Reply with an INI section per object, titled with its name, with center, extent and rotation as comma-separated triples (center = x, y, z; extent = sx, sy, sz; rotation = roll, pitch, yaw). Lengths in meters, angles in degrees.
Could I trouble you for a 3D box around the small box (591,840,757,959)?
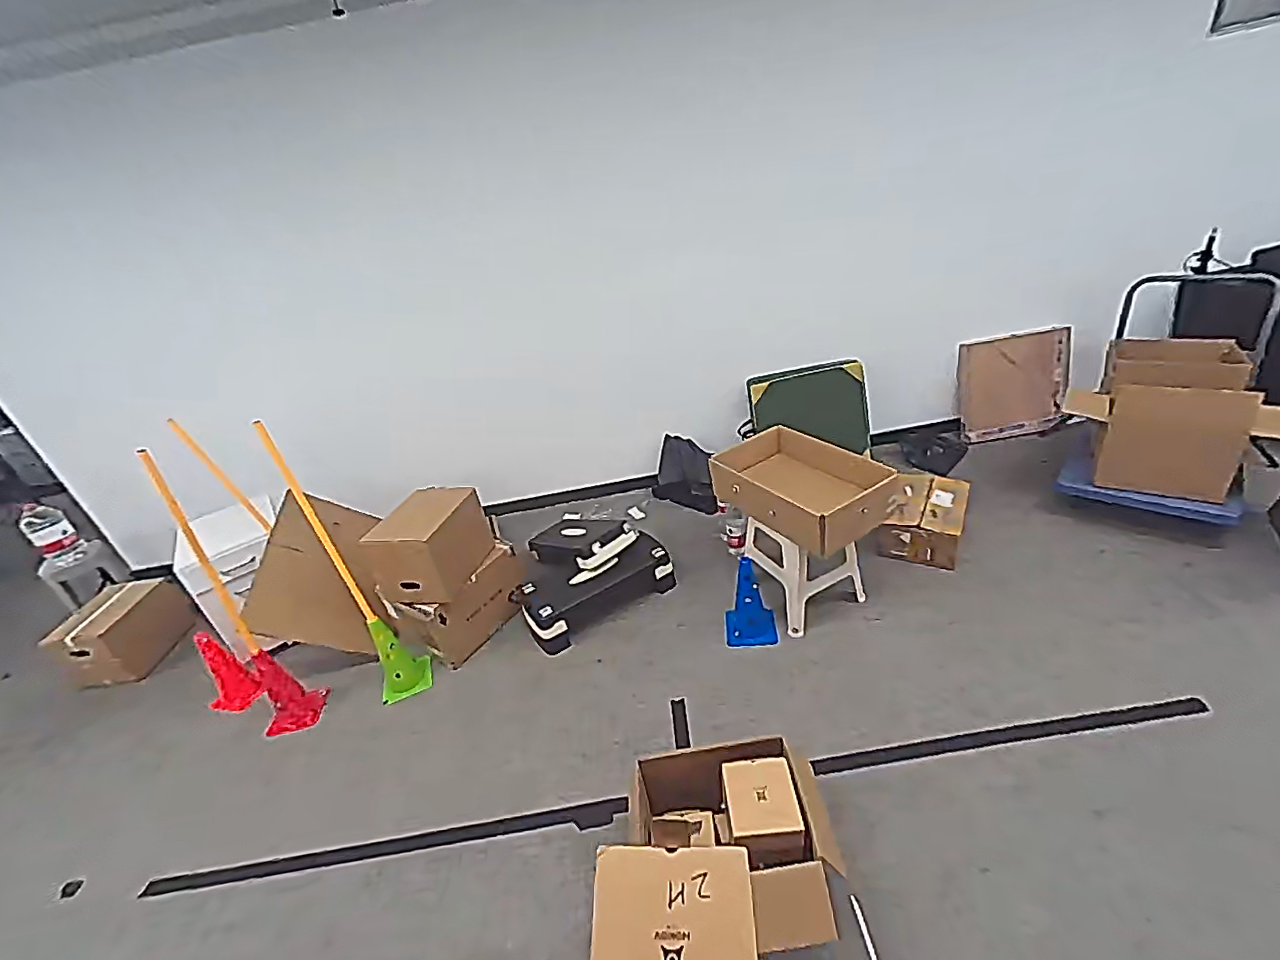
[small box]
center = 0.039, 0.515, 0.589
extent = 0.168, 0.176, 0.179
rotation = -1, 45, 4
